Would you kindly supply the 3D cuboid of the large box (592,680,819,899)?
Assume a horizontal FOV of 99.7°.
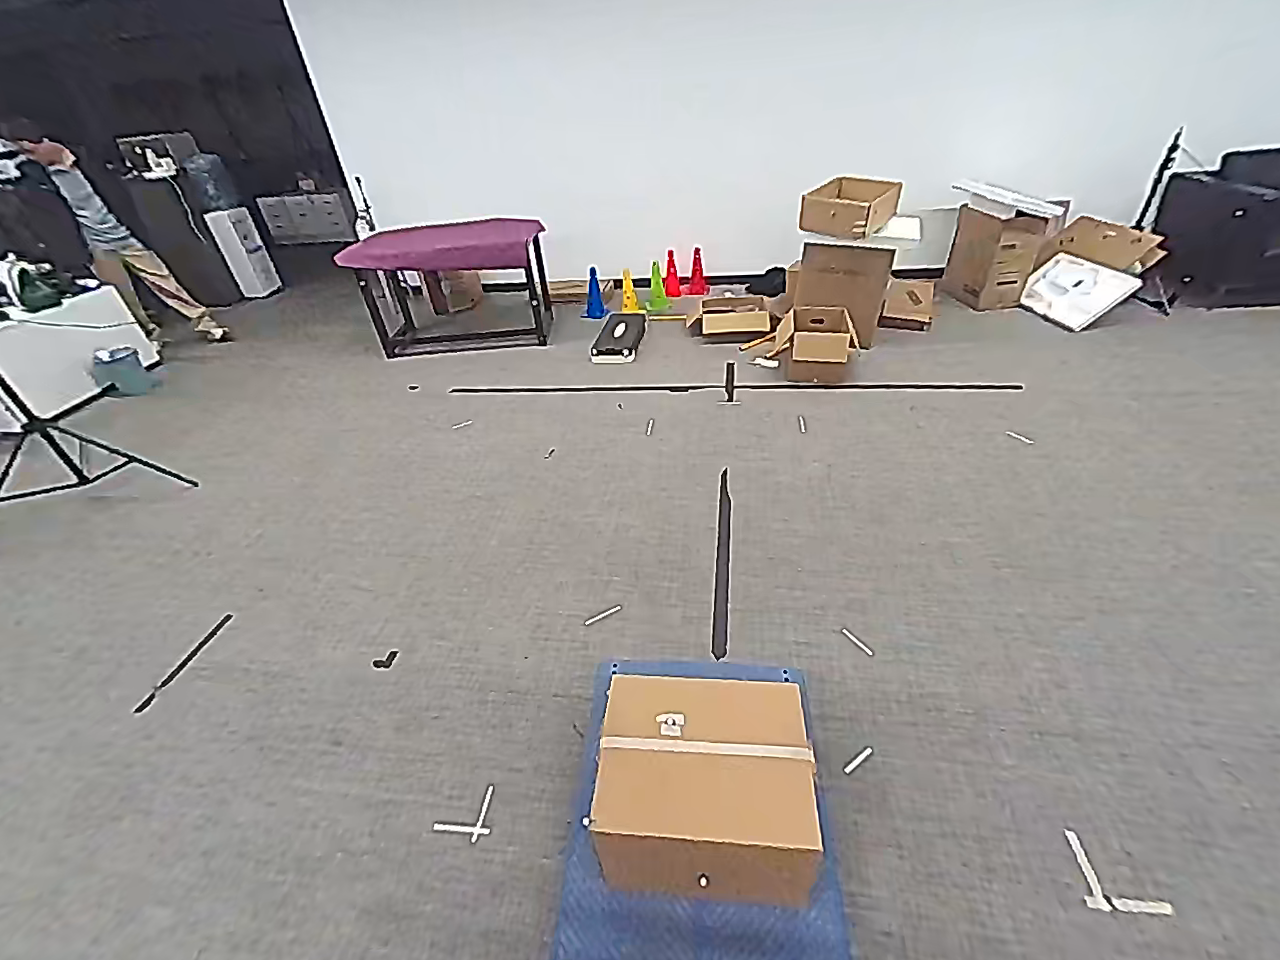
[{"bbox_3d":[0.137,0.652,1.152,0.408,0.320,0.320,-1,36,7],"label":"large box"}]
